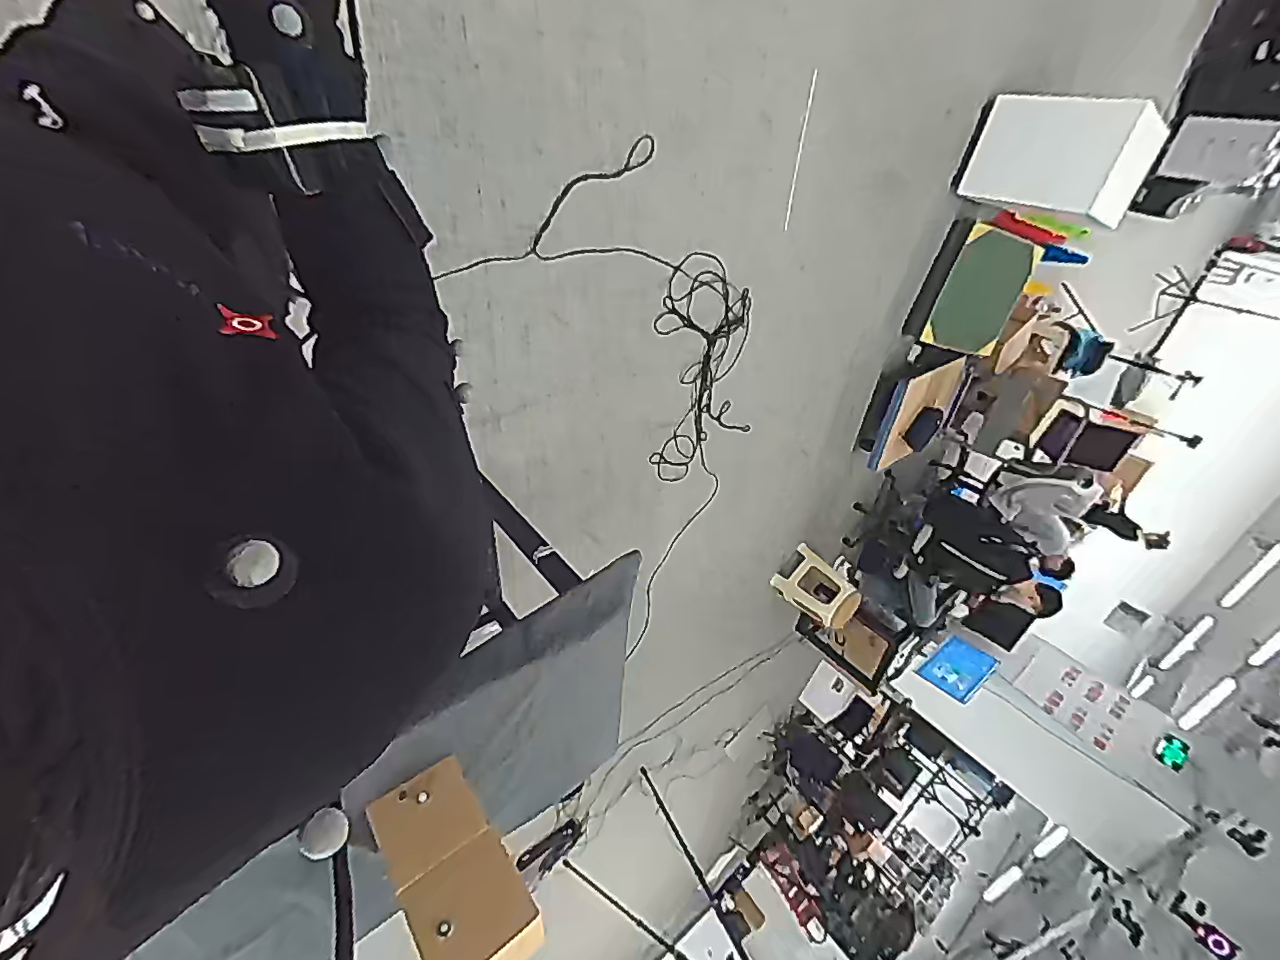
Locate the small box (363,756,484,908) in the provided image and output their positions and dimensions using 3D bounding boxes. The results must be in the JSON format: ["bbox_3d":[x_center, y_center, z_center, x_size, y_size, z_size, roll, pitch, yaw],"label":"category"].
[{"bbox_3d":[-0.400,0.667,1.020,0.168,0.176,0.179,-22,133,-33],"label":"small box"}]

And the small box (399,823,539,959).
[{"bbox_3d":[-0.293,0.744,0.924,0.179,0.176,0.168,-24,136,-33],"label":"small box"}]
